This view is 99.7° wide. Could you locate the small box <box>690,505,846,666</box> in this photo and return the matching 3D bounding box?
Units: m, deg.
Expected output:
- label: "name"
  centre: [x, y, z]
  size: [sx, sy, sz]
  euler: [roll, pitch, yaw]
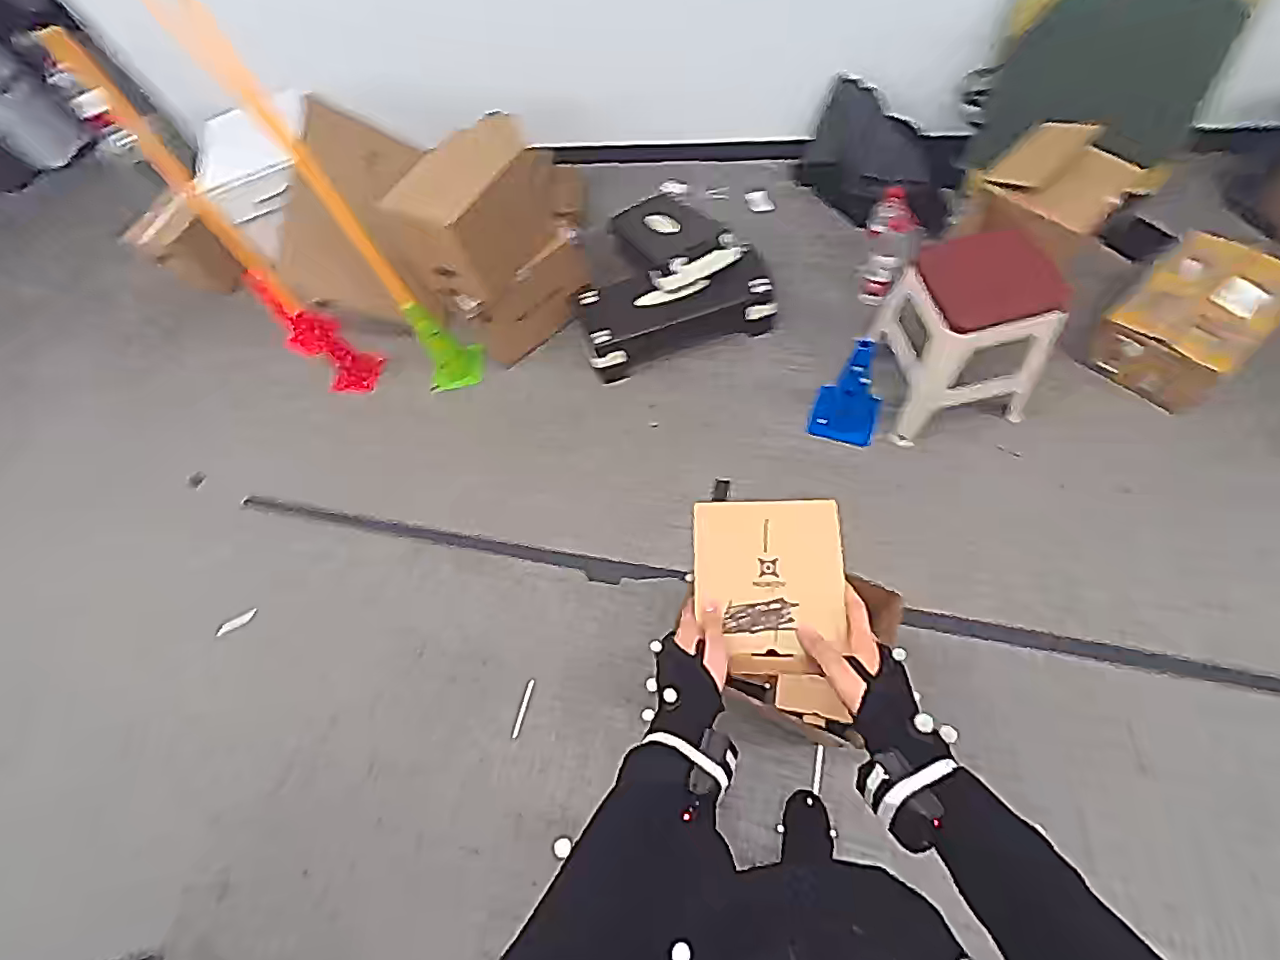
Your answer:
- label: "small box"
  centre: [0.152, 0.140, 0.680]
  size: [0.168, 0.176, 0.179]
  euler: [-2, 69, 8]
